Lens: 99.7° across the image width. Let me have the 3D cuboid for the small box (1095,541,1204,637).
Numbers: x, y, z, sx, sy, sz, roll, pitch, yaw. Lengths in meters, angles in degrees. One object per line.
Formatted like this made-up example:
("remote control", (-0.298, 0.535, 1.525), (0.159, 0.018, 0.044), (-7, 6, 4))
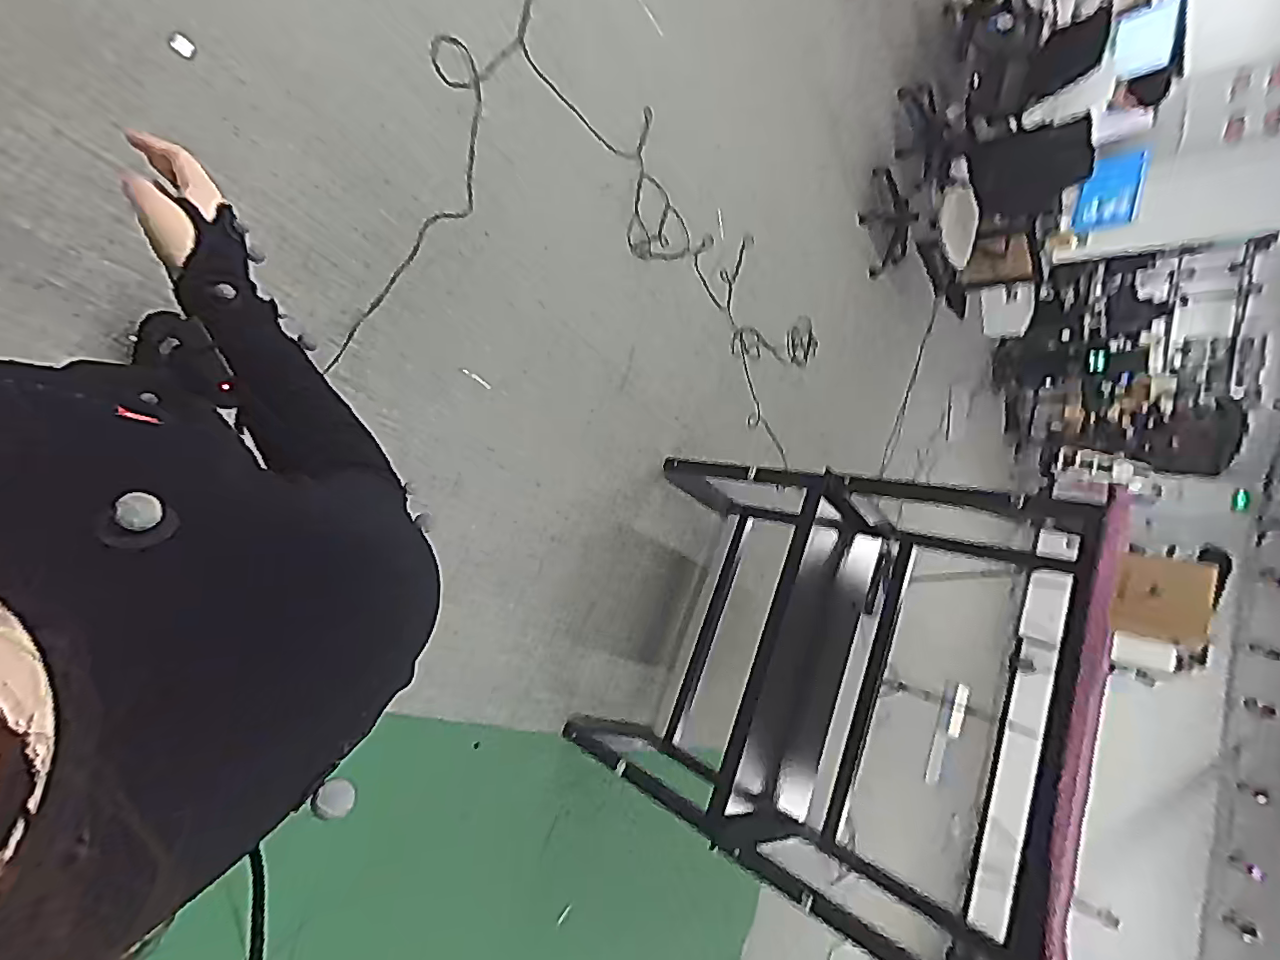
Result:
("small box", (1.197, 0.253, 1.277), (0.179, 0.176, 0.168), (31, 75, -44))
